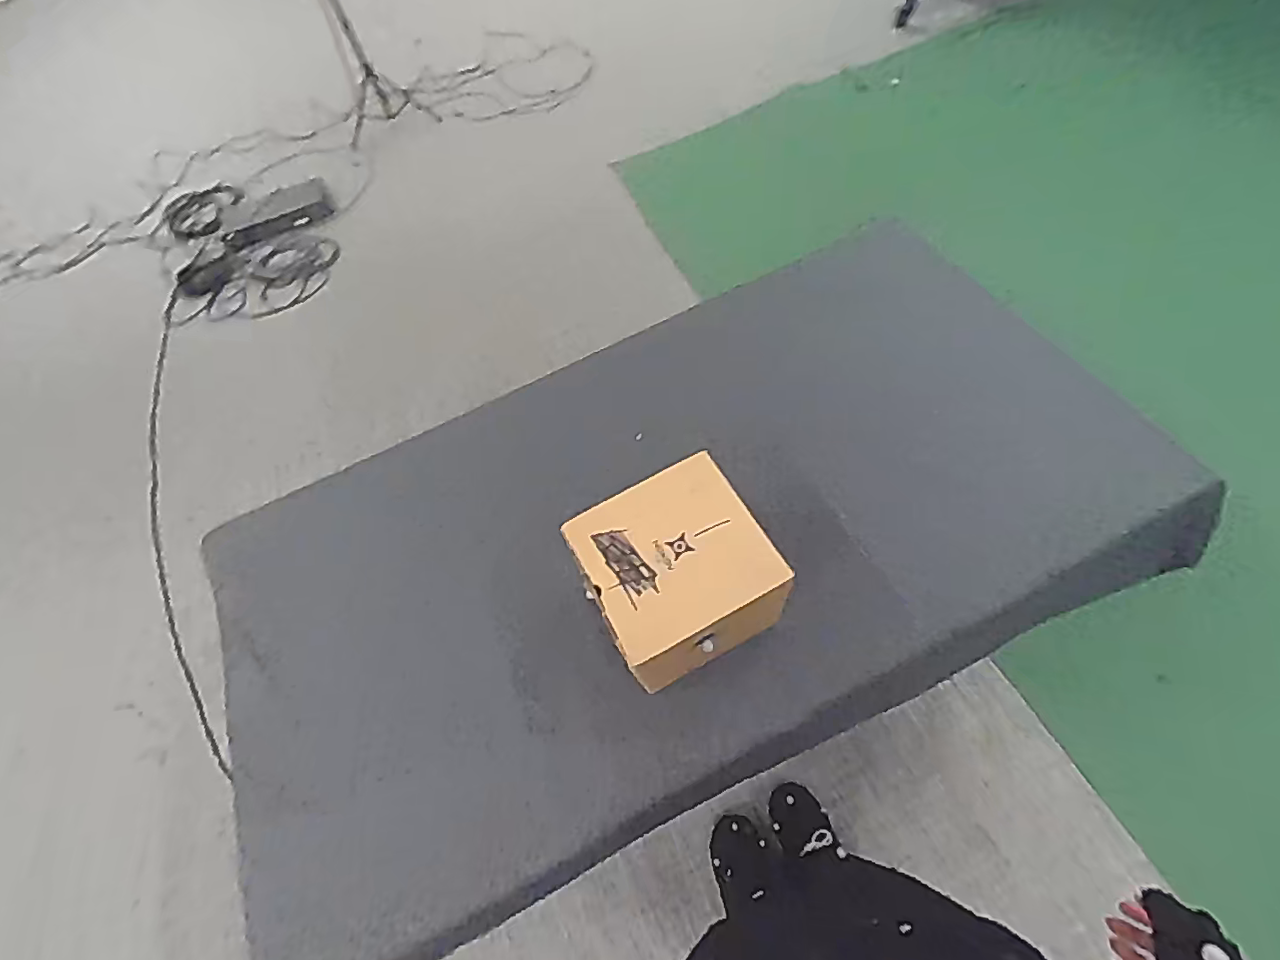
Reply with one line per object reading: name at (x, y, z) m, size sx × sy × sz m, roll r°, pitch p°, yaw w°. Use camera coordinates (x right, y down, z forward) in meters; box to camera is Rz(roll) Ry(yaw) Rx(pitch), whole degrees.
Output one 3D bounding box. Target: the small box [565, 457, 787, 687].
small box at (0.041, 0.112, 0.611) m, size 0.179 × 0.176 × 0.168 m, roll -27°, pitch 61°, yaw -8°
